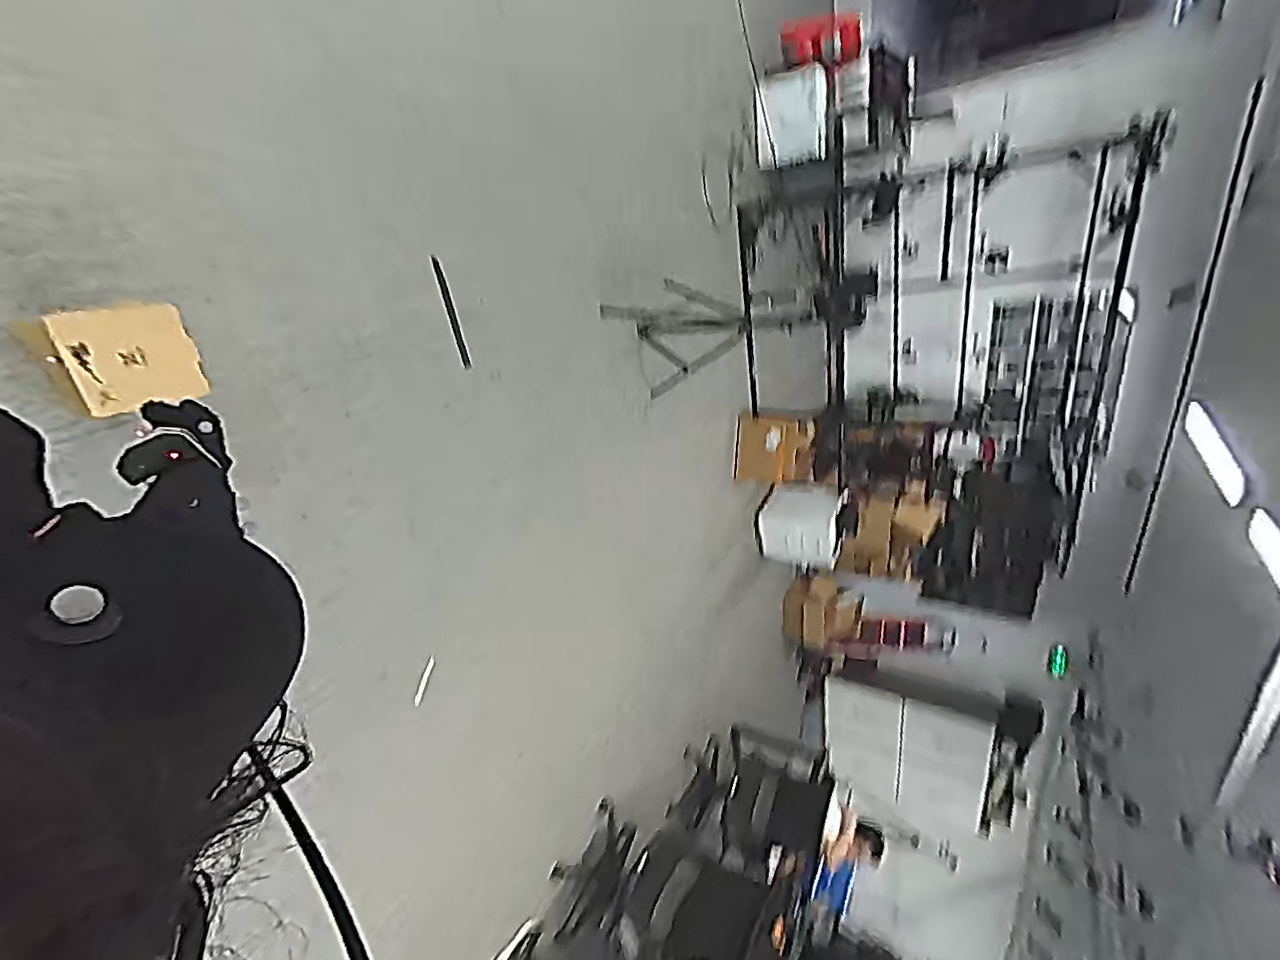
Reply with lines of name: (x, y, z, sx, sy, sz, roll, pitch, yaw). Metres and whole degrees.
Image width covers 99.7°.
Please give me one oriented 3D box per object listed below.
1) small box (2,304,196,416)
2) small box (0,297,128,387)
small box: (-0.950, -0.216, 0.956, 0.179, 0.176, 0.168, -35, 124, -52)
small box: (-1.082, -0.246, 1.049, 0.168, 0.176, 0.179, -42, 129, -48)
